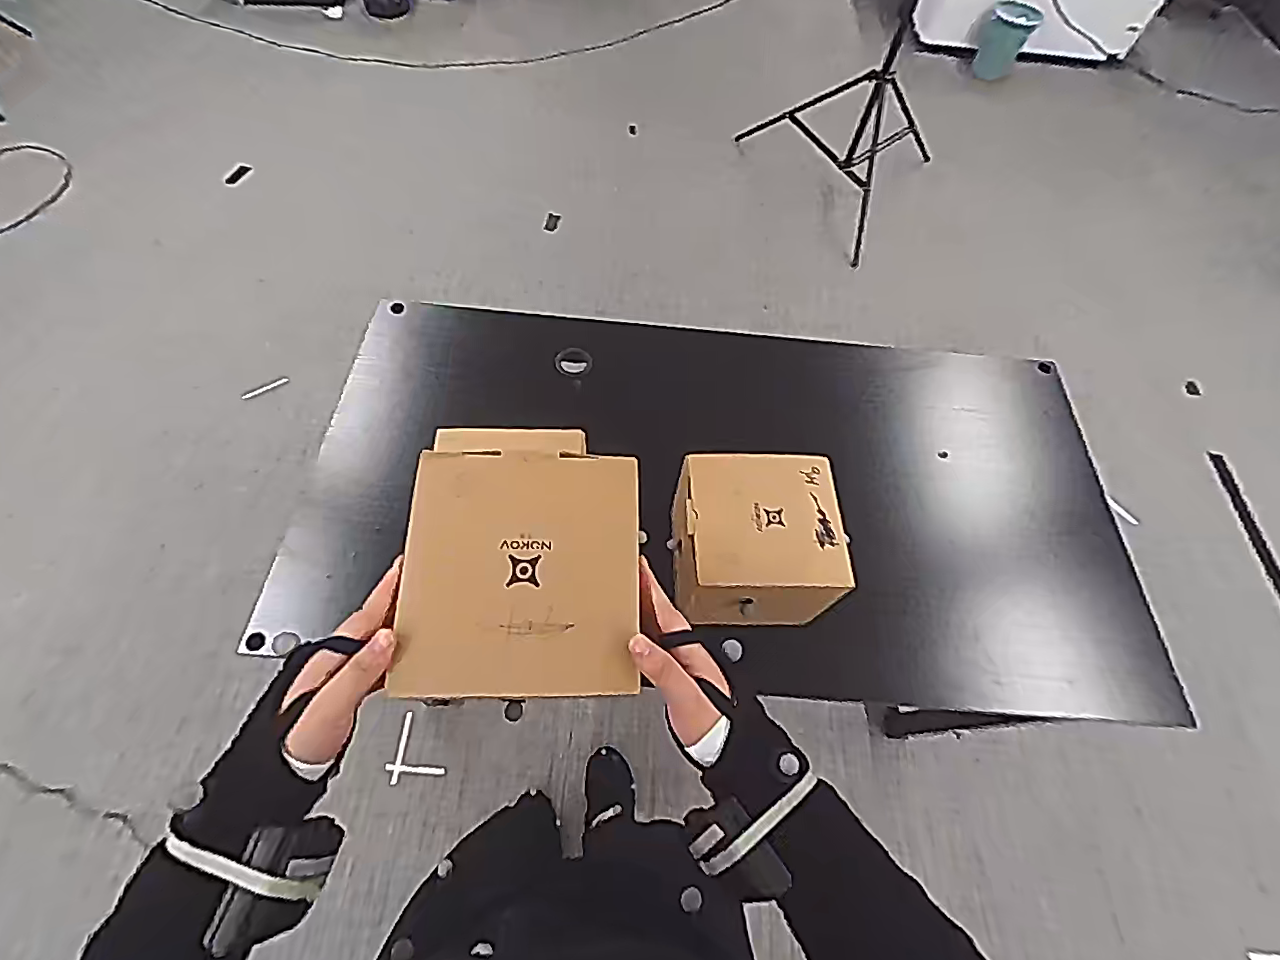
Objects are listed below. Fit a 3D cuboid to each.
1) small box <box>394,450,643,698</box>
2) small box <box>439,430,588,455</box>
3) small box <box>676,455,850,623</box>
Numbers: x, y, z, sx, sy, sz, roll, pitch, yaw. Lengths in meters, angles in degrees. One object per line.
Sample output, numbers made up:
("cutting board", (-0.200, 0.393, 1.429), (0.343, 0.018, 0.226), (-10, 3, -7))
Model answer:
("small box", (-0.089, 0.090, 0.462), (0.168, 0.176, 0.179), (1, 68, -6))
("small box", (-0.154, 0.051, 0.685), (0.179, 0.176, 0.168), (0, 61, -3))
("small box", (0.139, 0.081, 0.690), (0.179, 0.176, 0.168), (0, 61, -2))
